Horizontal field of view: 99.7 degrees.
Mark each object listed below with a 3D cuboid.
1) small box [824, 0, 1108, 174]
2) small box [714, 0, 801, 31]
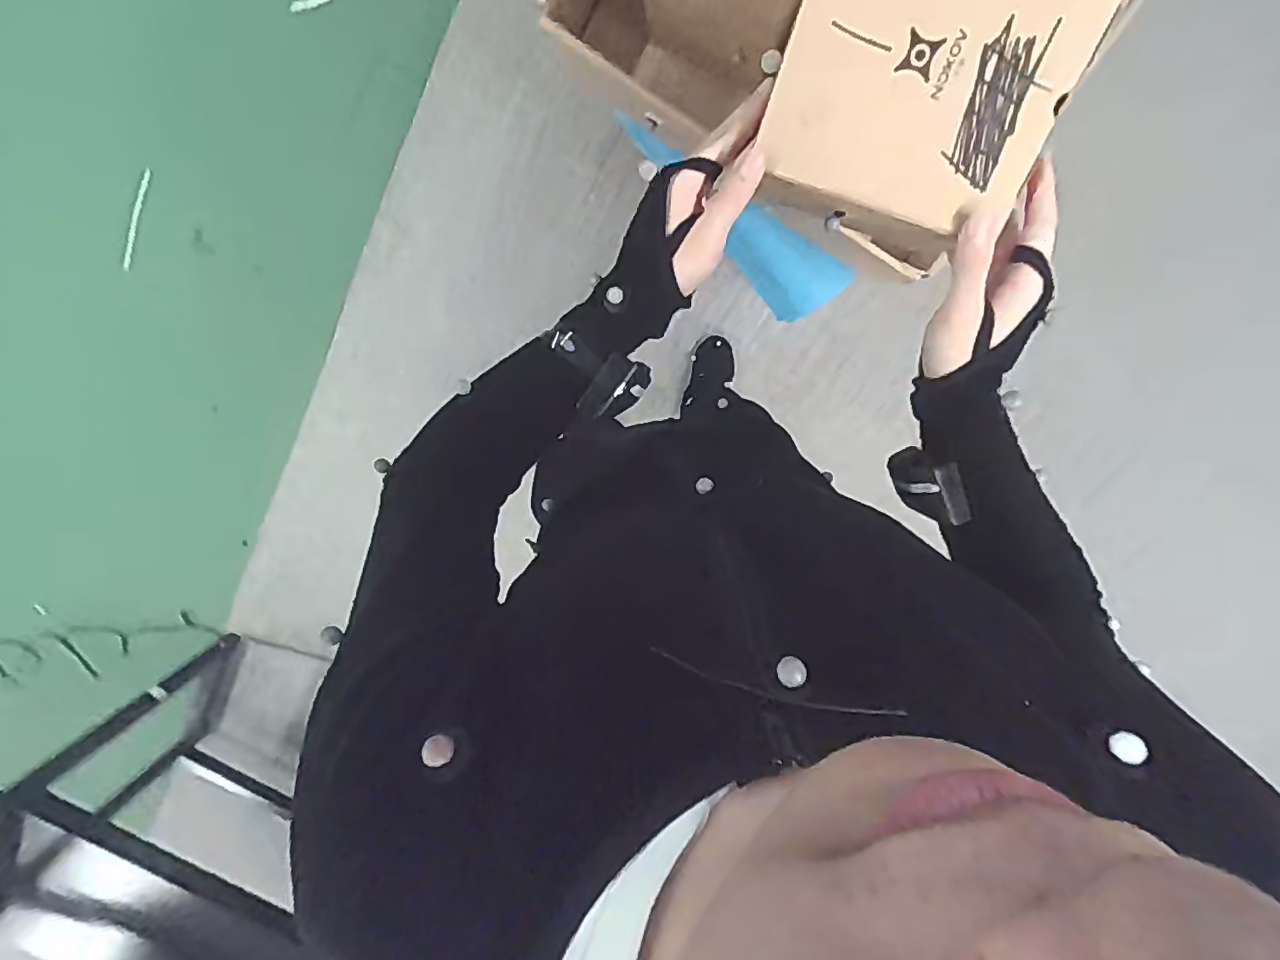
[{"bbox_3d":[0.317,-0.449,0.551,0.179,0.176,0.168,34,107,-4],"label":"small box"},{"bbox_3d":[0.118,-0.596,0.527,0.179,0.176,0.168,27,108,-4],"label":"small box"}]
